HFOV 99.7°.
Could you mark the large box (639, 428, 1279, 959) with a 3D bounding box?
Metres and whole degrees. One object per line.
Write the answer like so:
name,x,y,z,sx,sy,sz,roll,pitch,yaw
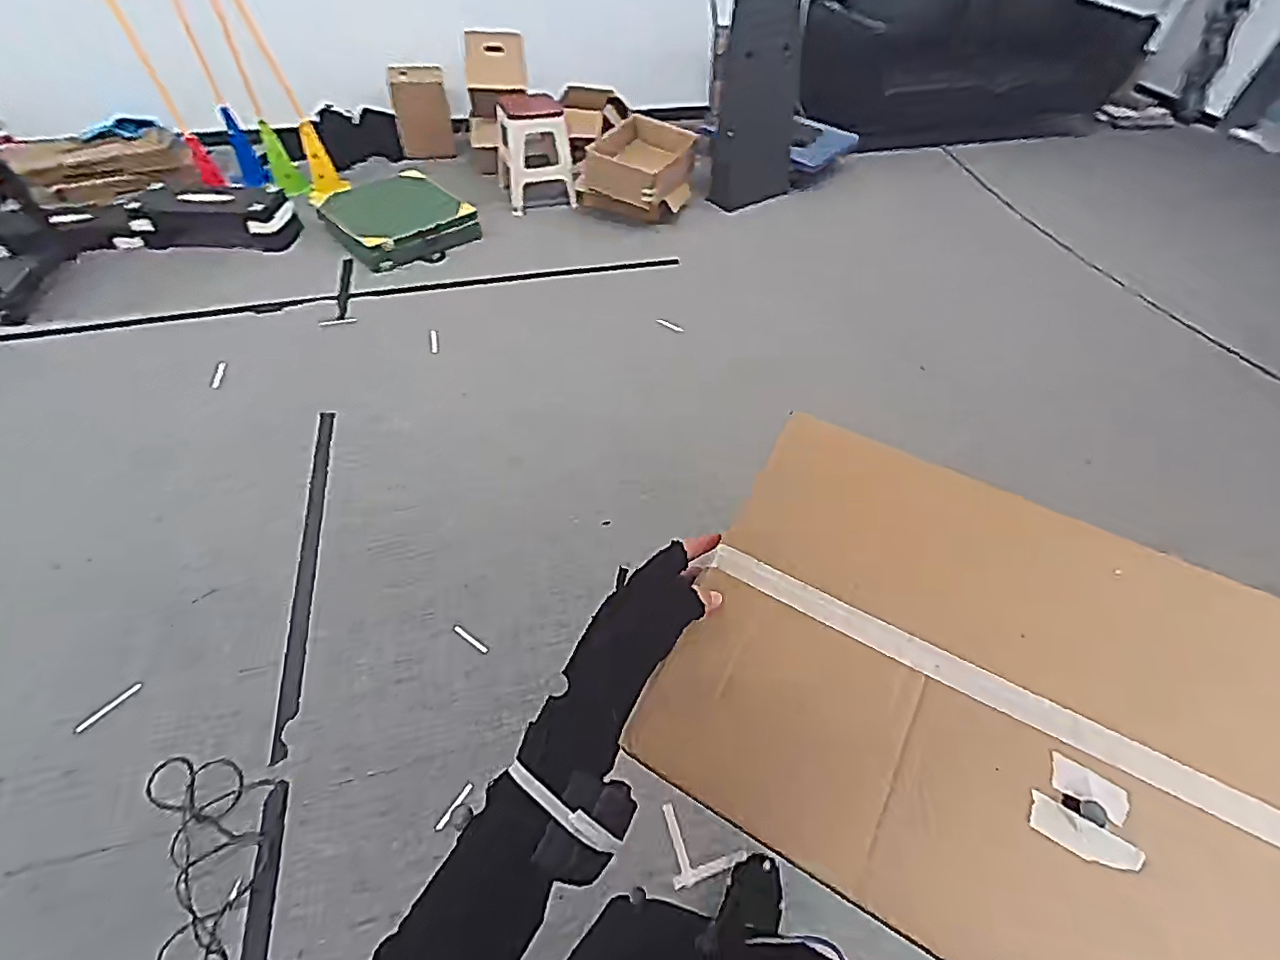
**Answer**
large box,0.251,0.215,0.513,0.408,0.320,0.320,25,68,17
